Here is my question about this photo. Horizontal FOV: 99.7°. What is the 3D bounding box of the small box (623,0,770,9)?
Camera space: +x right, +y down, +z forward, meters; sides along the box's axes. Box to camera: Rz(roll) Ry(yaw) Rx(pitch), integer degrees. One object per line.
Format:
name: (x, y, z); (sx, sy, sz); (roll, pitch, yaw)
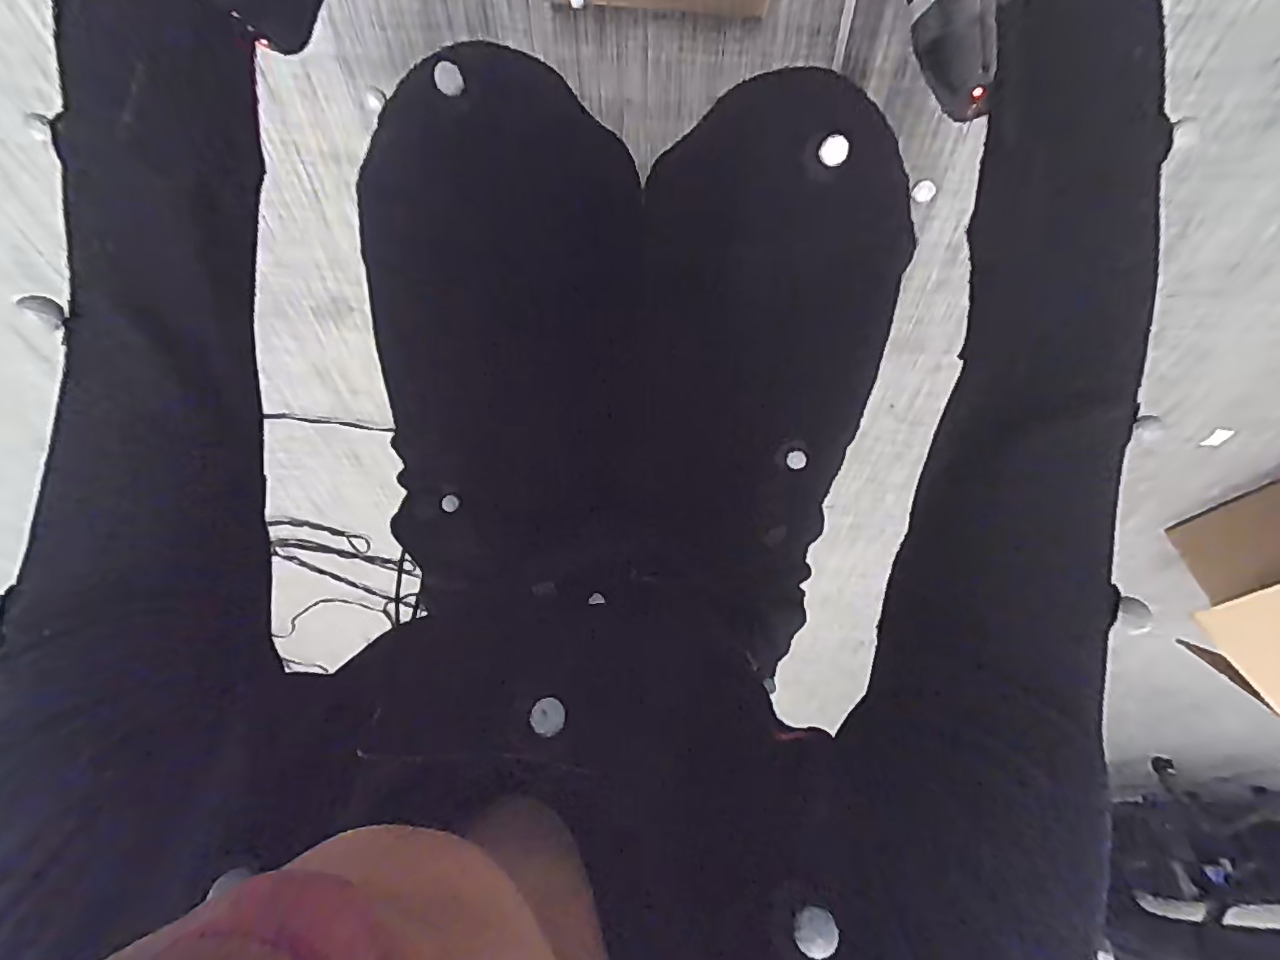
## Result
small box: (0.009, -0.389, 0.287); (0.179, 0.176, 0.168); (5, 114, 0)
